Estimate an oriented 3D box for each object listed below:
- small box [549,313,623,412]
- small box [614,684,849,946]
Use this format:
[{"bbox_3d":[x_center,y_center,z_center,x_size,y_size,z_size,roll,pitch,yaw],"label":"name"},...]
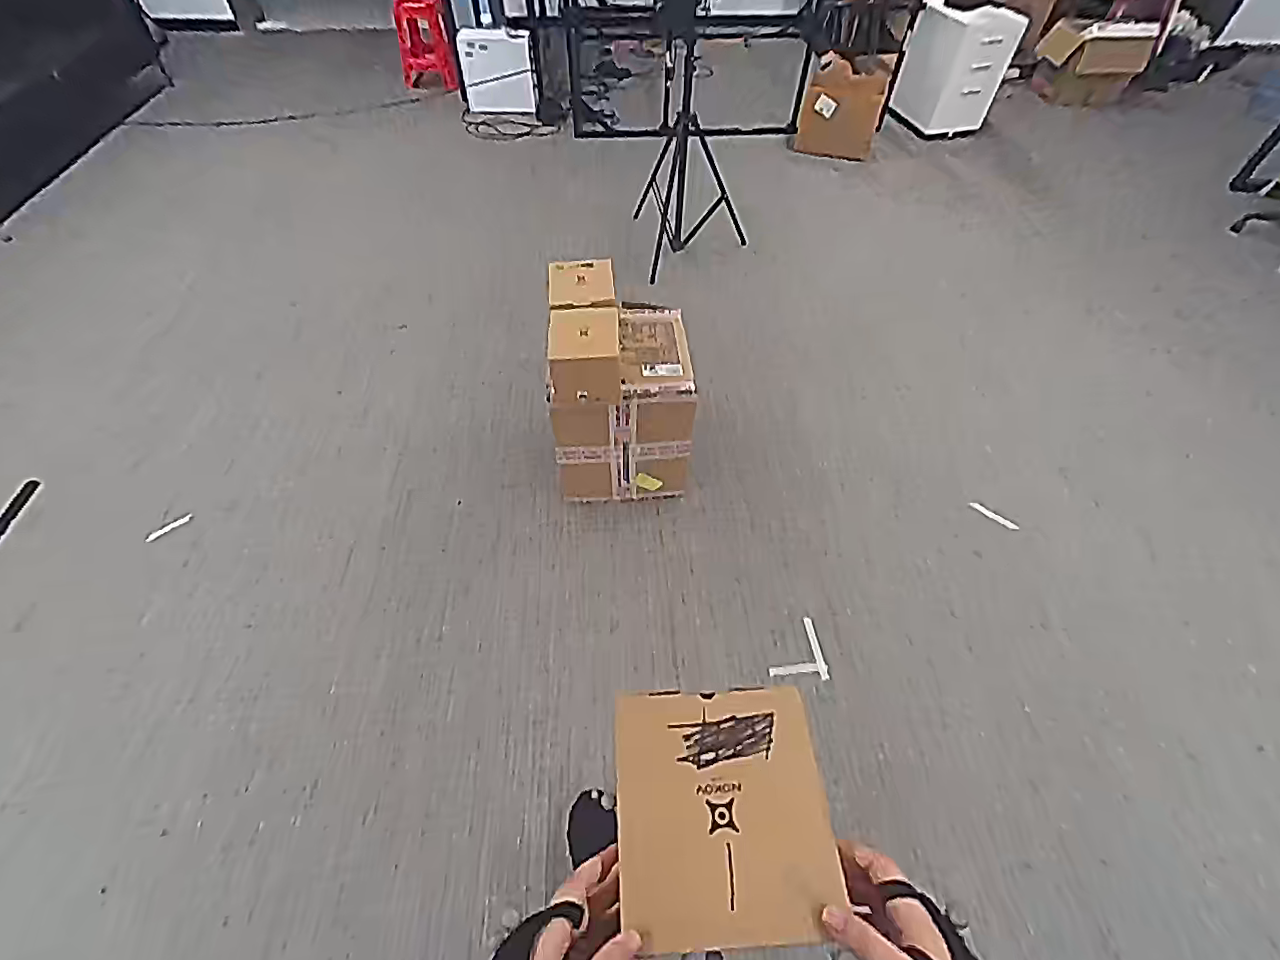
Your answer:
[{"bbox_3d":[-0.129,-0.289,1.337,0.168,0.176,0.179,-3,56,-1],"label":"small box"},{"bbox_3d":[0.060,0.302,0.487,0.168,0.176,0.179,-2,51,-2],"label":"small box"}]
